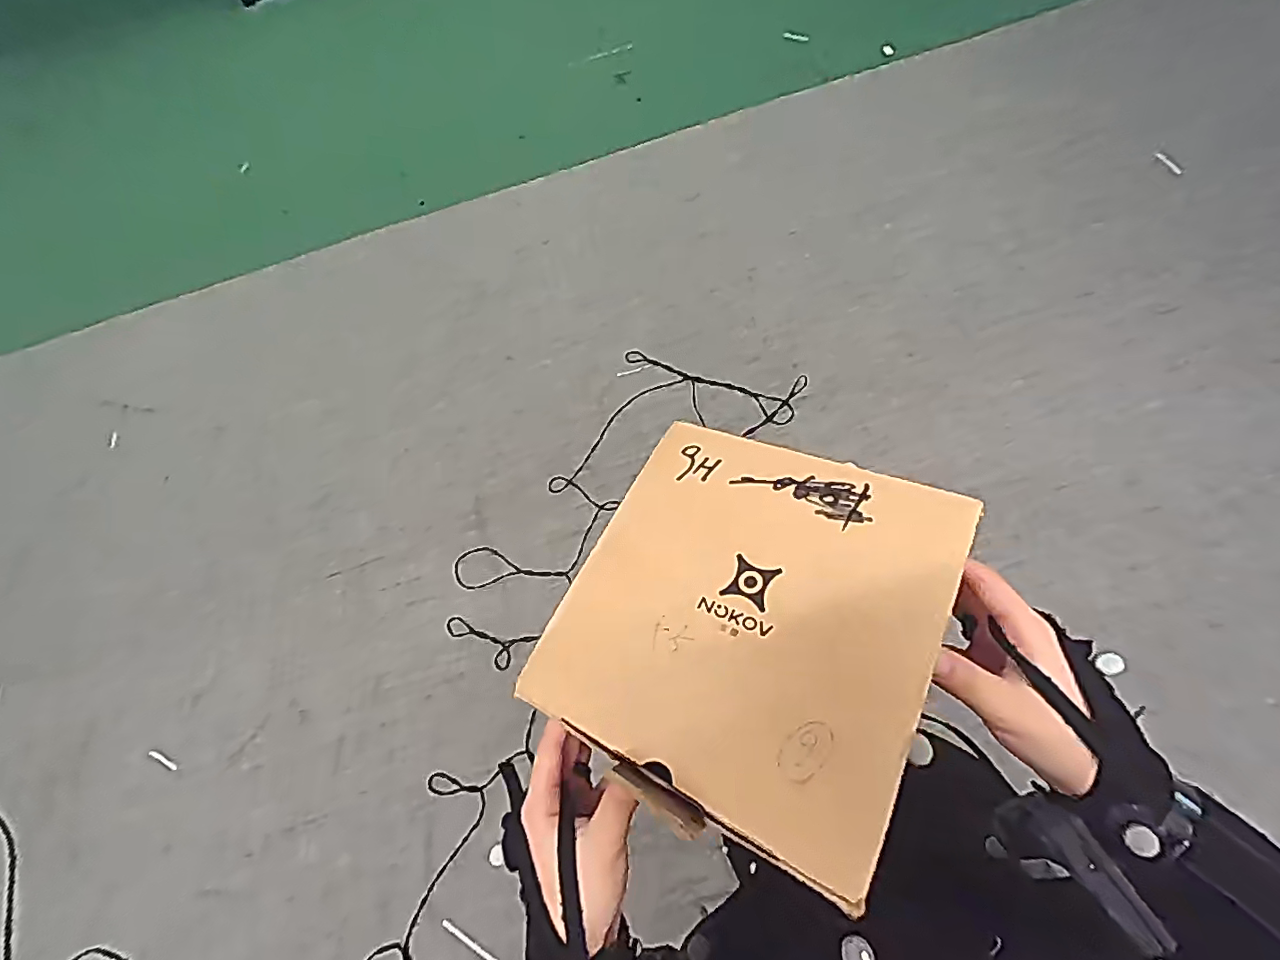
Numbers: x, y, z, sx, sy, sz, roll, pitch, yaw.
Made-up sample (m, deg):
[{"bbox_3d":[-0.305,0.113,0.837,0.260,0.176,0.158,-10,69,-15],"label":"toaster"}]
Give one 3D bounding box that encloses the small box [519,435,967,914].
[{"bbox_3d":[0.068,0.106,0.323,0.168,0.176,0.179,19,65,28],"label":"small box"}]
